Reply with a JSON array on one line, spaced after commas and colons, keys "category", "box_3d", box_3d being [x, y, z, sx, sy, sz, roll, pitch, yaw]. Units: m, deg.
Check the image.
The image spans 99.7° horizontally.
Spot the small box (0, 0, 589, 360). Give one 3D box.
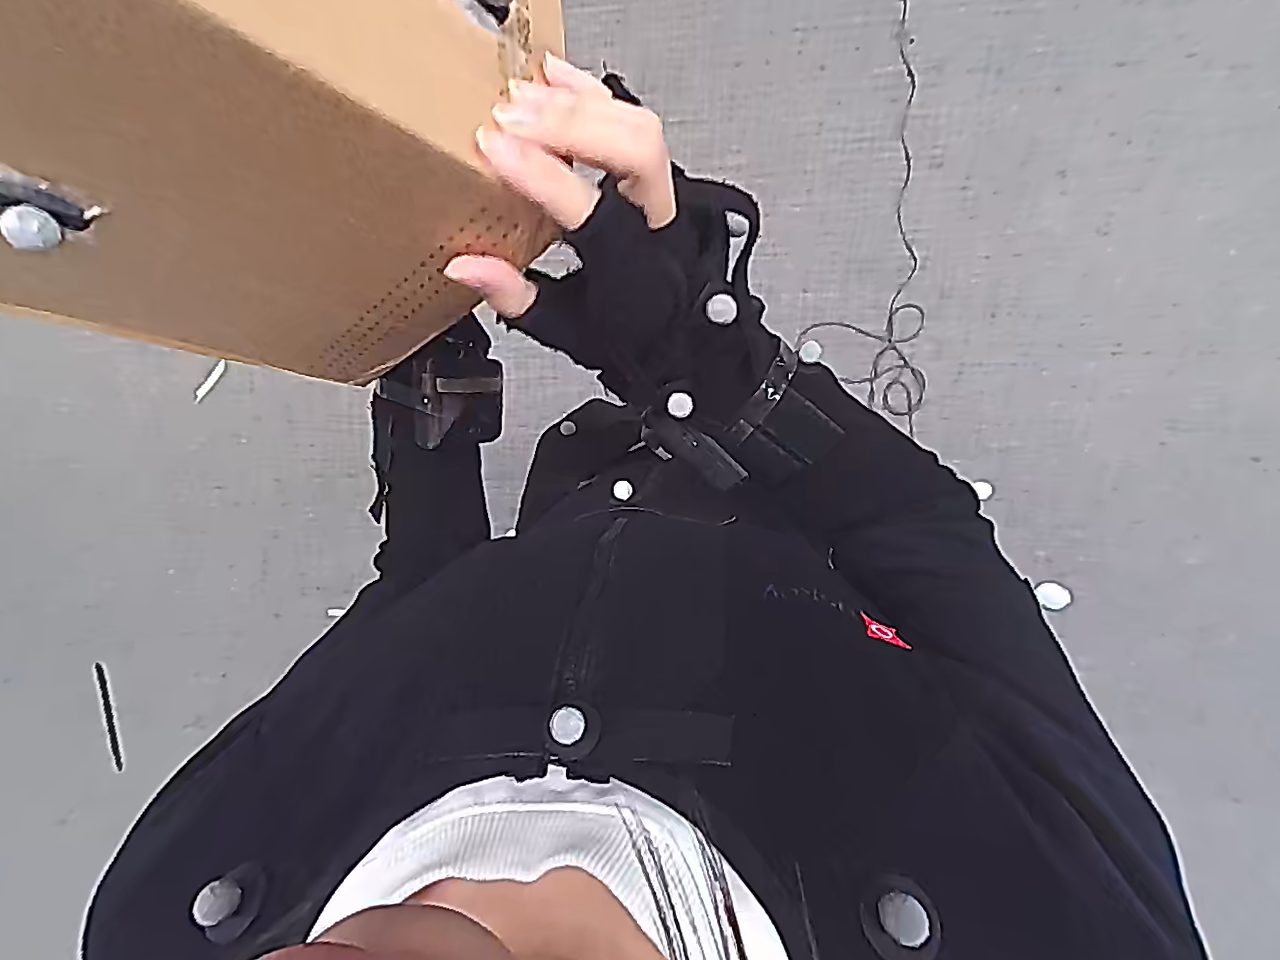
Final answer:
[{"category": "small box", "box_3d": [-0.143, -0.165, 0.213, 0.179, 0.176, 0.168, -16, 76, 38]}]
